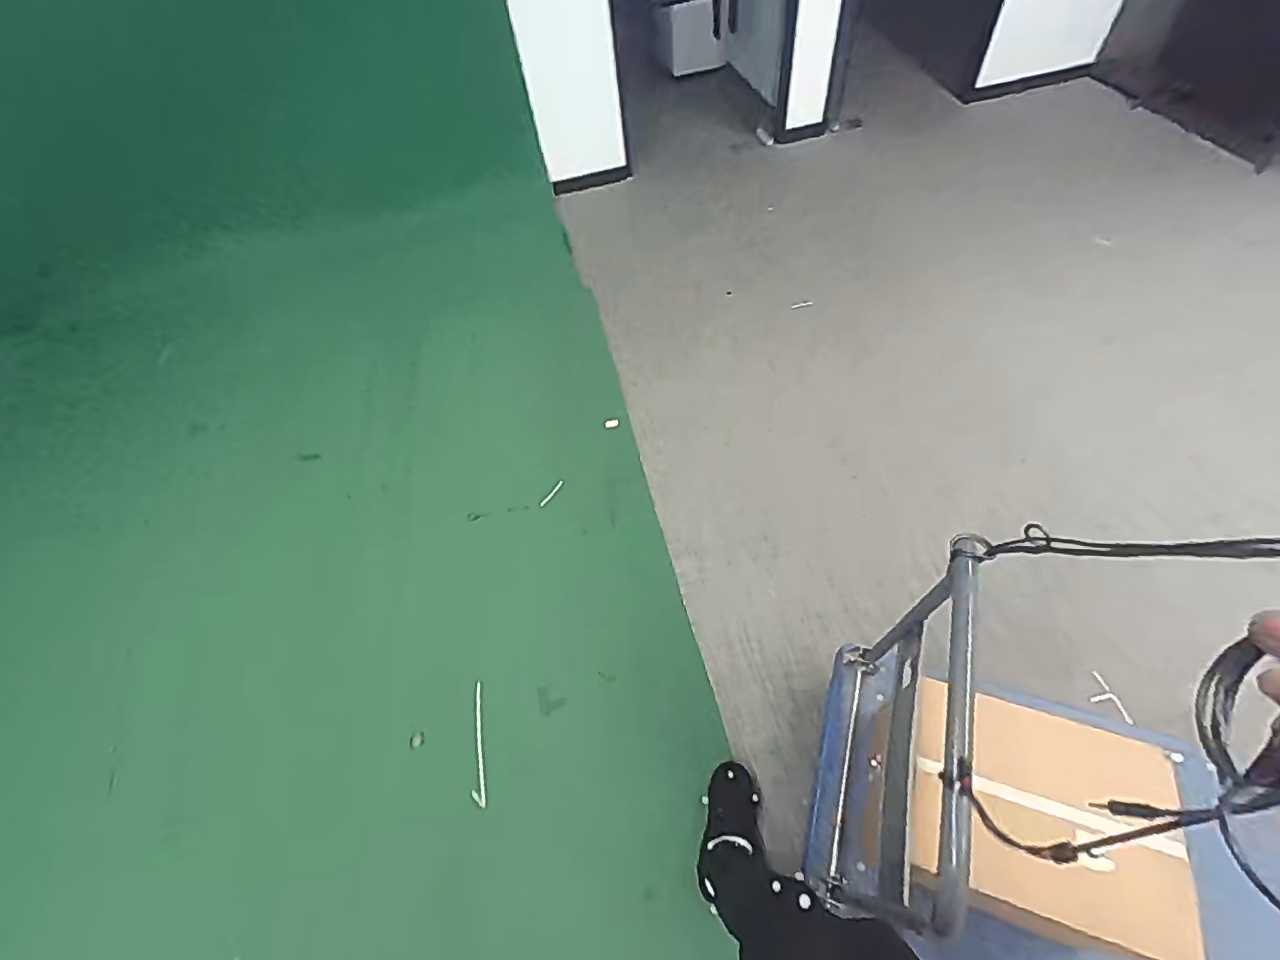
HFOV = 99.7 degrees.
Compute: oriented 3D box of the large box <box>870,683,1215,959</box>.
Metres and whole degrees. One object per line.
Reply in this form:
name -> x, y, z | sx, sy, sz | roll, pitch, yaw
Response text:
large box -> 0.683, 0.627, 1.004 | 0.408, 0.320, 0.320 | 14, 58, 16
